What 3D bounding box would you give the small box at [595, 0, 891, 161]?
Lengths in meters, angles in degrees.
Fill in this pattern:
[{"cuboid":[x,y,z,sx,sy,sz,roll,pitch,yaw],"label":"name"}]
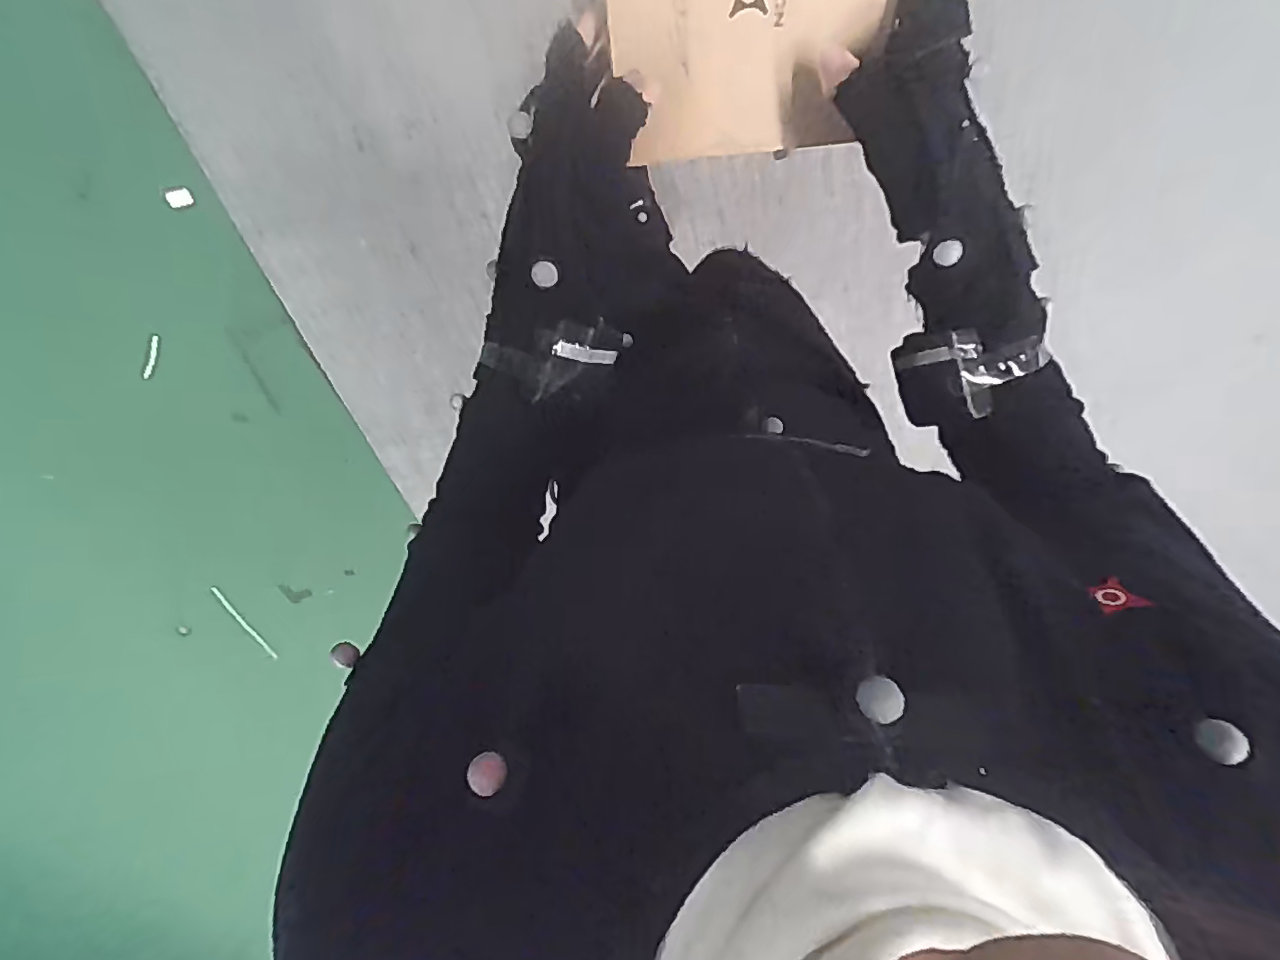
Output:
[{"cuboid":[0.058,-0.335,0.377,0.179,0.176,0.168,-7,127,1],"label":"small box"}]
